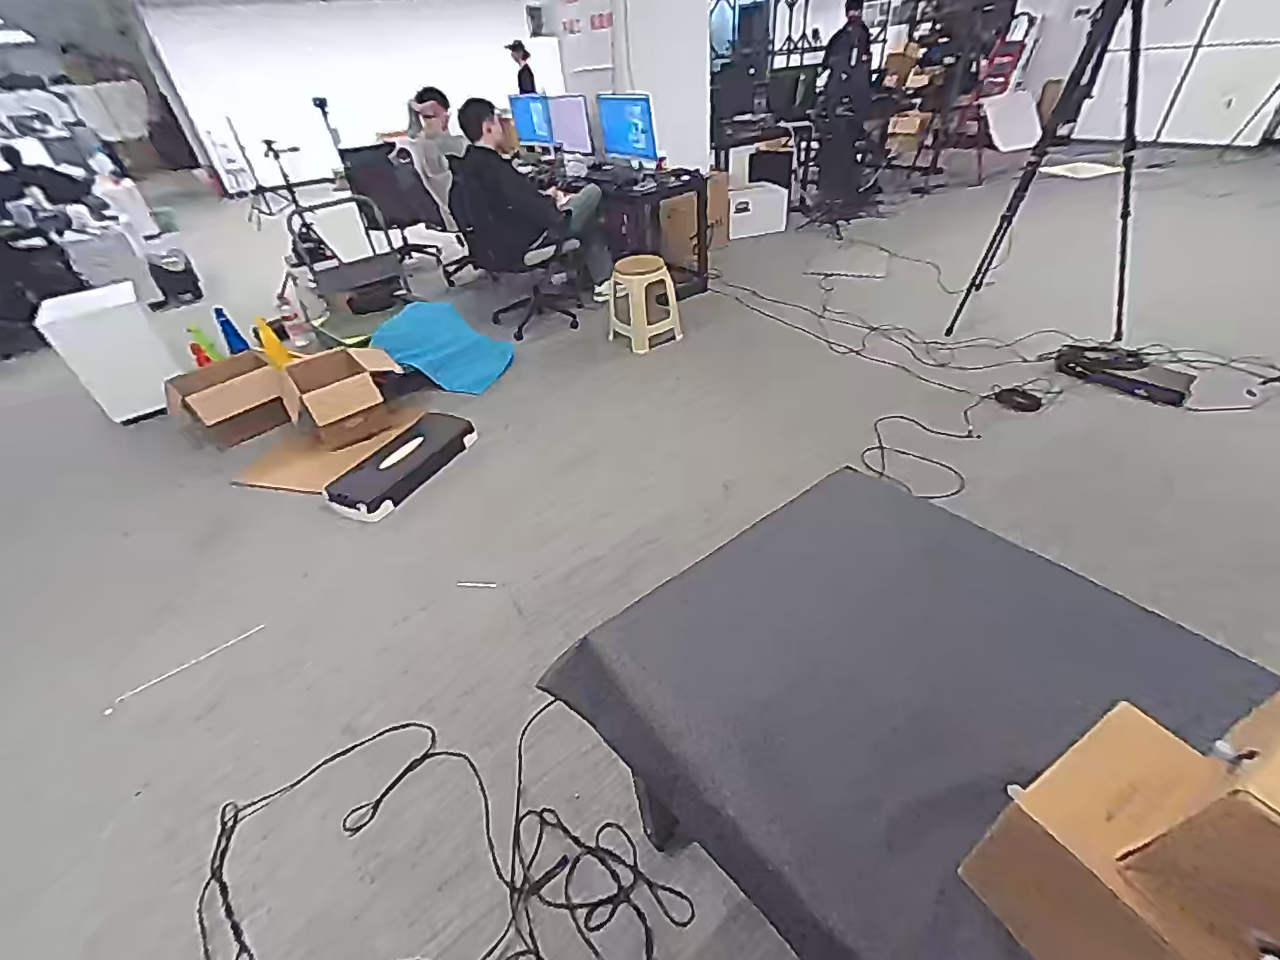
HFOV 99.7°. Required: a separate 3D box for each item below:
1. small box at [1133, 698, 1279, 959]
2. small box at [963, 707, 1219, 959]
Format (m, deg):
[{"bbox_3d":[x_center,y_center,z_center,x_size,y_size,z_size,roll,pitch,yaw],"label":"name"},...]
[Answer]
[{"bbox_3d":[0.443,0.223,0.307,0.179,0.176,0.168,-30,44,-16],"label":"small box"},{"bbox_3d":[0.415,0.337,0.447,0.168,0.176,0.179,-22,40,-21],"label":"small box"}]
